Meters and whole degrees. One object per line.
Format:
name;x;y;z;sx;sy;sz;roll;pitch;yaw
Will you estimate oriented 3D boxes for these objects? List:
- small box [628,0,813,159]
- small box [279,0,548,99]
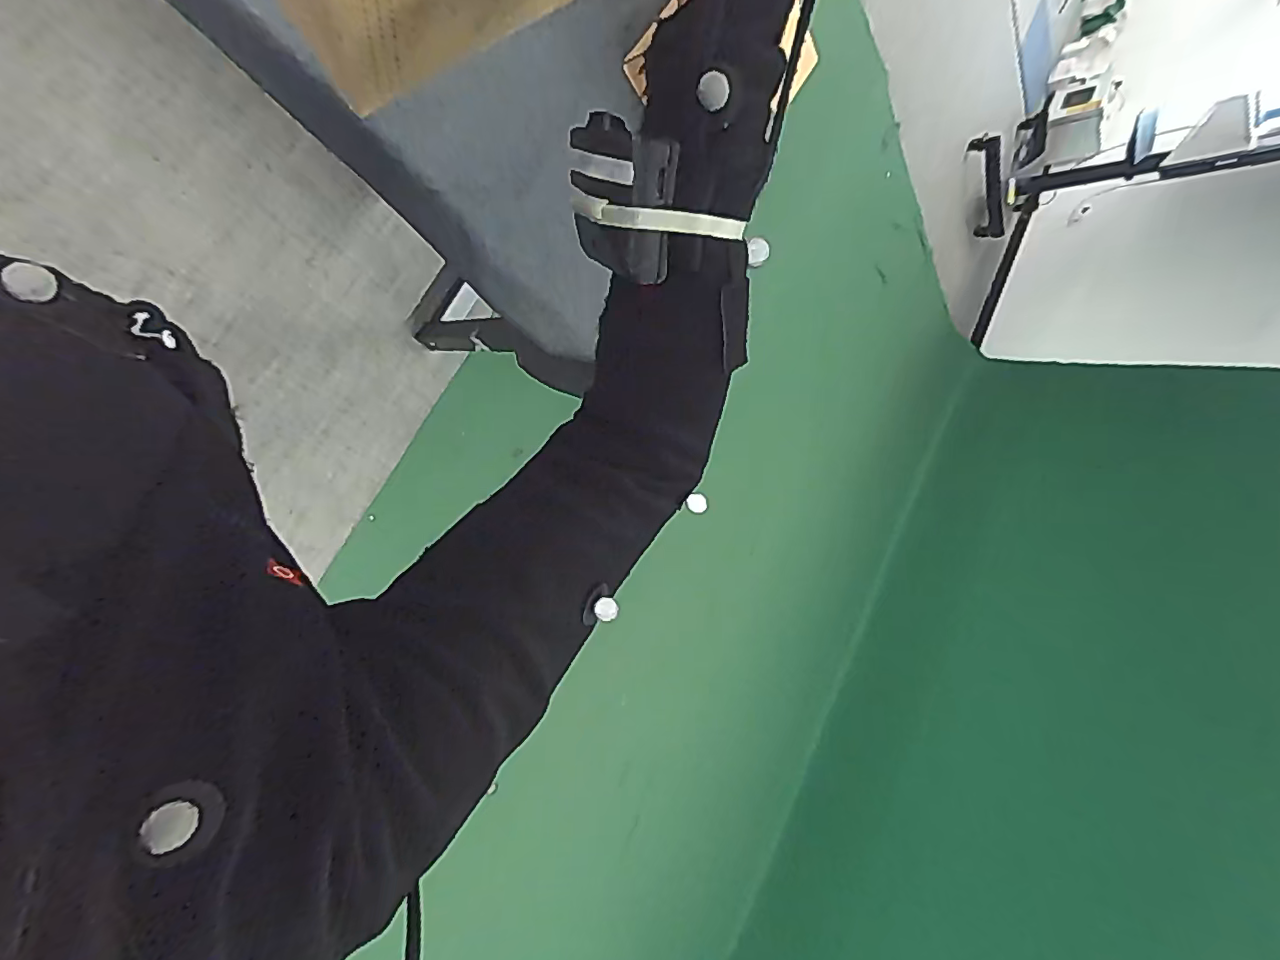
small box;0.114;-0.602;0.774;0.168;0.176;0.179;43;73;-41
small box;-0.099;-0.288;0.199;0.176;0.179;0.168;-38;112;-11
